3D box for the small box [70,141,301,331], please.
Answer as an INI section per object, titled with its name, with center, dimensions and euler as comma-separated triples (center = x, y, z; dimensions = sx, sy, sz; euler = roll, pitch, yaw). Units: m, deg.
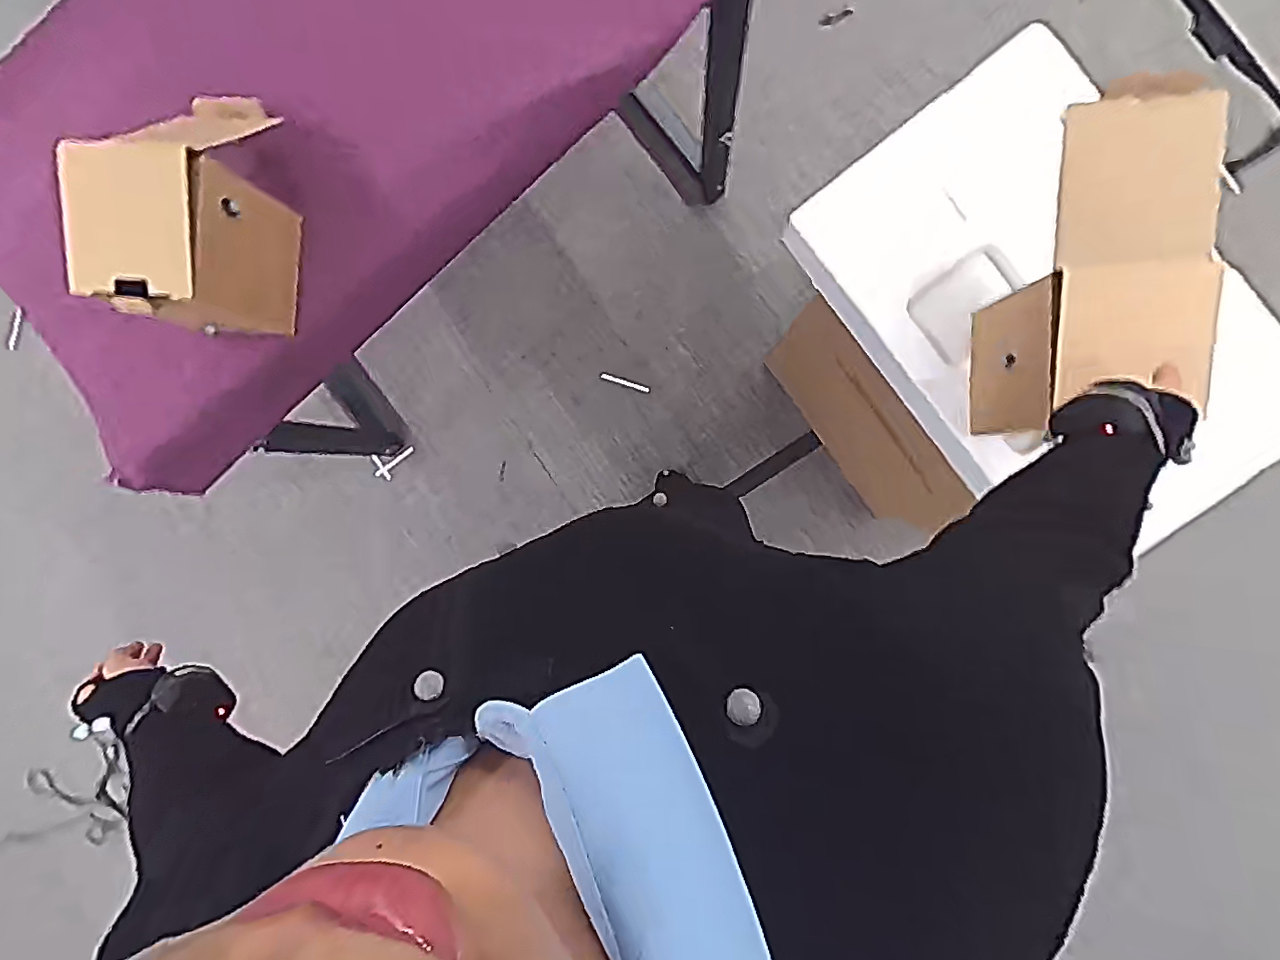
[small box]
center = -0.589, -0.314, 0.723
dimensions = 0.168, 0.176, 0.179
euler = 5, 91, 6
